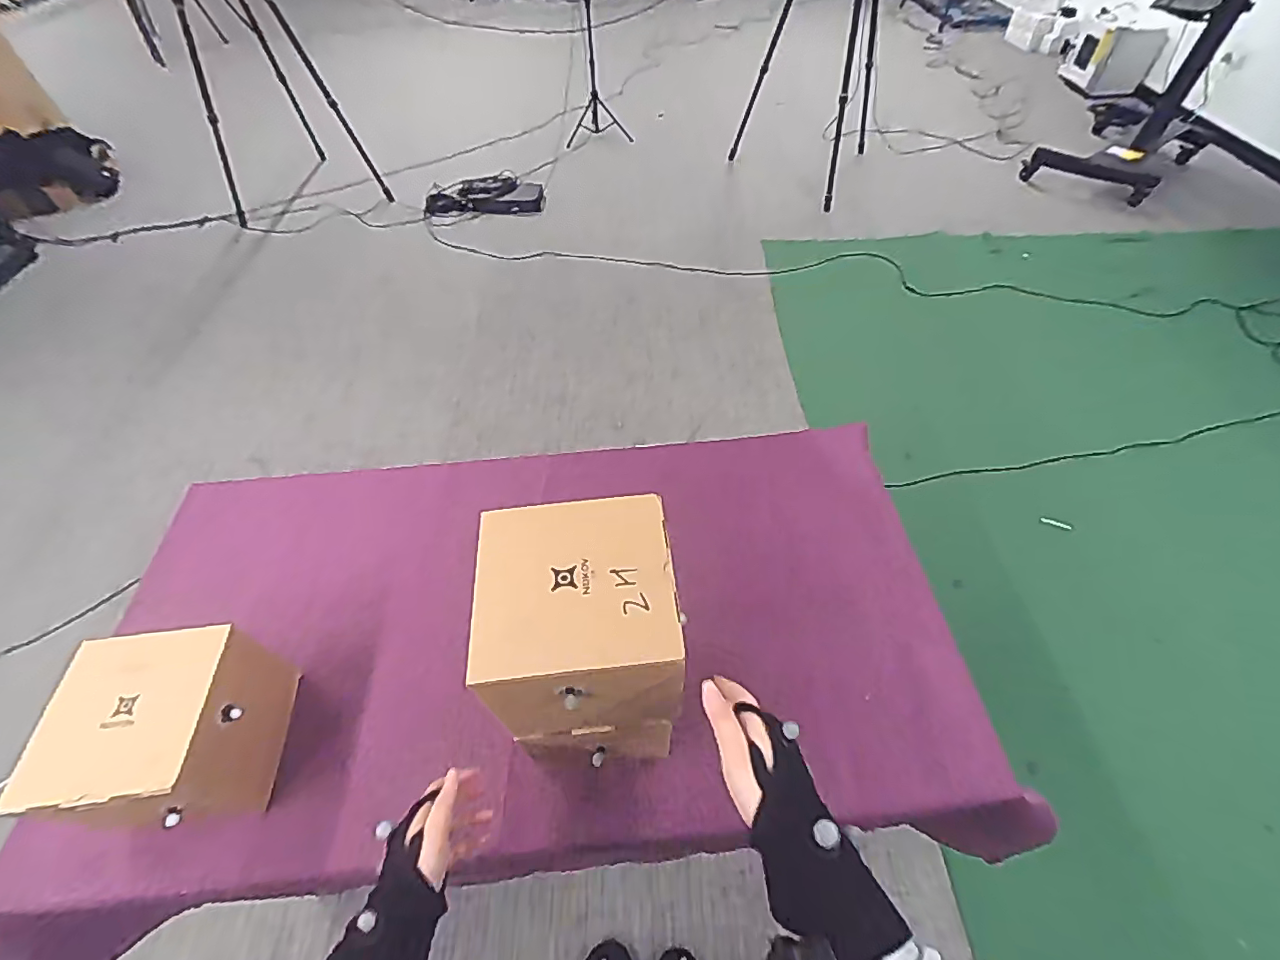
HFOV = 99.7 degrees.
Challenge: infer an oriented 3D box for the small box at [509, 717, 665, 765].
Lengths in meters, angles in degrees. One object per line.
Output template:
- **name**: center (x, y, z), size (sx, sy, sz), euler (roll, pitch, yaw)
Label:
- **small box**: center (-0.058, 0.242, 0.667), size (0.168, 0.176, 0.179), euler (-4, 53, -3)

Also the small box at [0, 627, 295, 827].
- **small box**: center (-0.544, 0.294, 0.633), size (0.168, 0.176, 0.179), euler (-5, 51, -4)

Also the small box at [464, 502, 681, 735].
- **small box**: center (-0.057, 0.142, 0.536), size (0.179, 0.176, 0.168), euler (-5, 52, -3)
